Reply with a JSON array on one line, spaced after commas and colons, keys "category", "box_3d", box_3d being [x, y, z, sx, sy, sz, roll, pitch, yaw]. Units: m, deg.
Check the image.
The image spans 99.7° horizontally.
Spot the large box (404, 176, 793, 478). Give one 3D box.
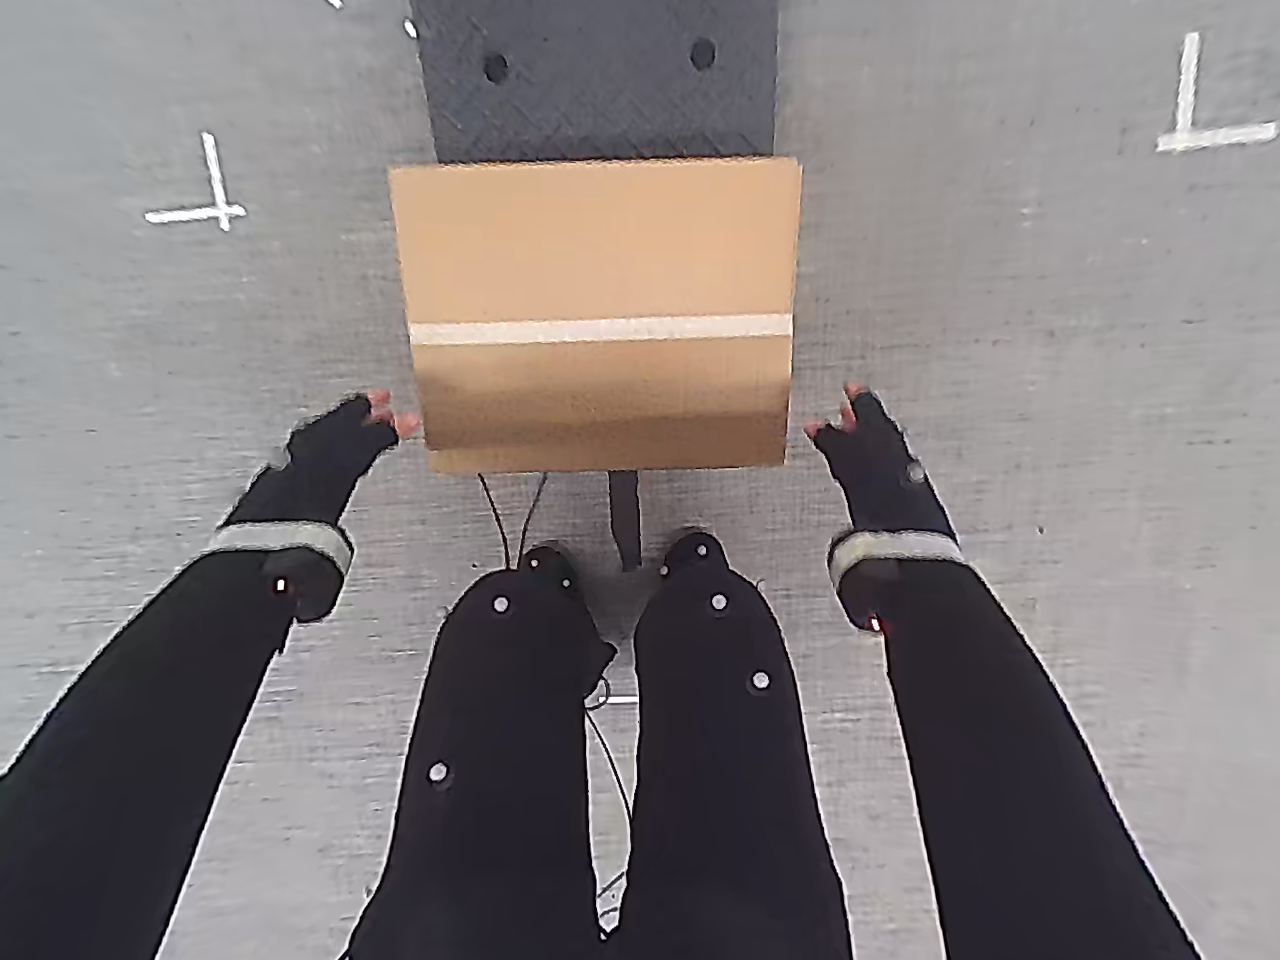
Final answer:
[{"category": "large box", "box_3d": [-0.038, -0.196, 0.728, 0.408, 0.320, 0.320, -1, 106, 0]}]
